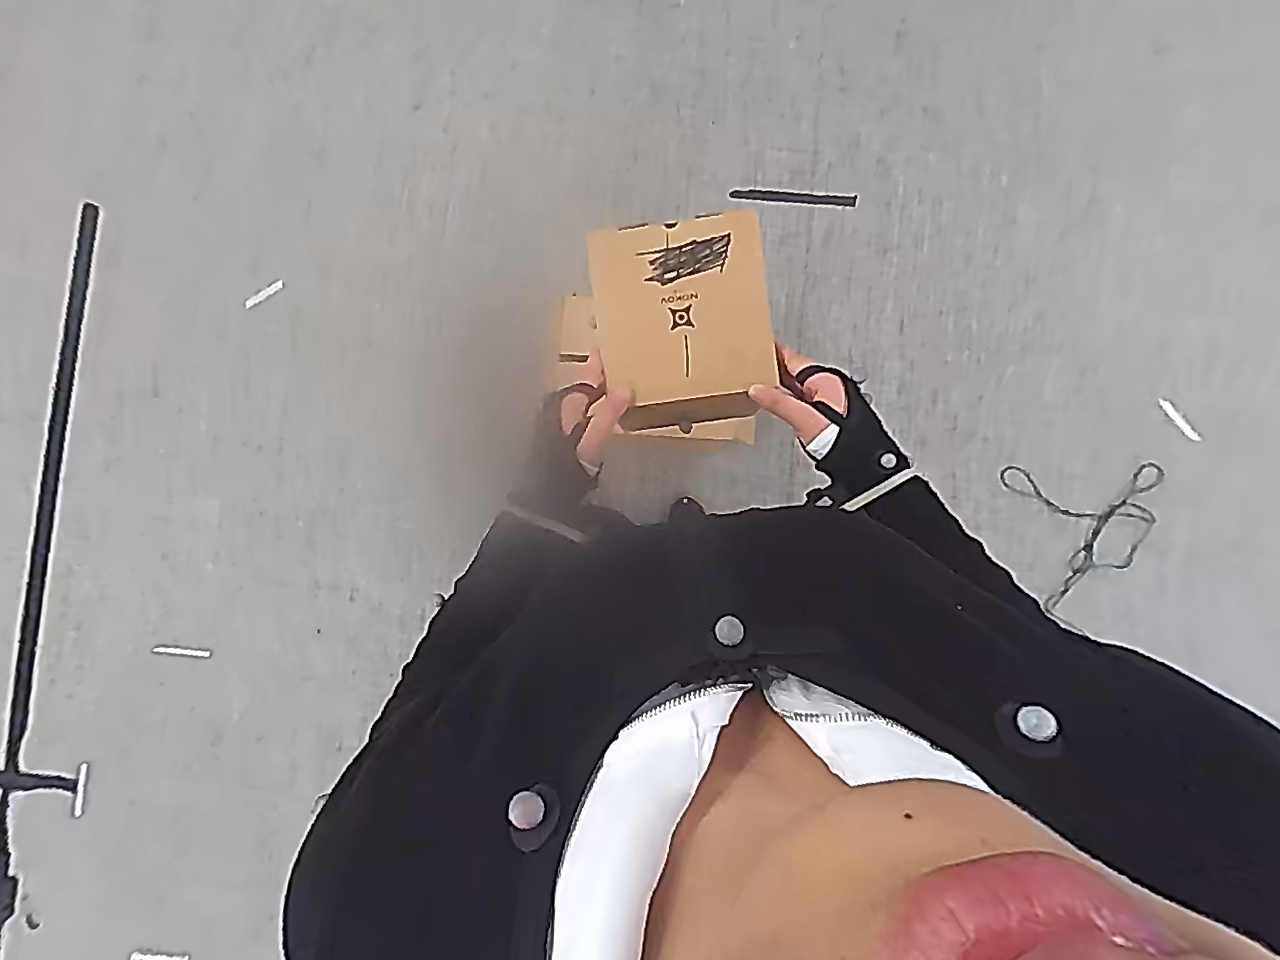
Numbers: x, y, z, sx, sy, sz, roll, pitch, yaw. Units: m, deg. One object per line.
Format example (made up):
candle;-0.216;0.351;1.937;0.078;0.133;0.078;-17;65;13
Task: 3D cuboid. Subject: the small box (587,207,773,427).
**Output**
small box;0.041;-0.163;0.596;0.168;0.176;0.179;-7;88;4
